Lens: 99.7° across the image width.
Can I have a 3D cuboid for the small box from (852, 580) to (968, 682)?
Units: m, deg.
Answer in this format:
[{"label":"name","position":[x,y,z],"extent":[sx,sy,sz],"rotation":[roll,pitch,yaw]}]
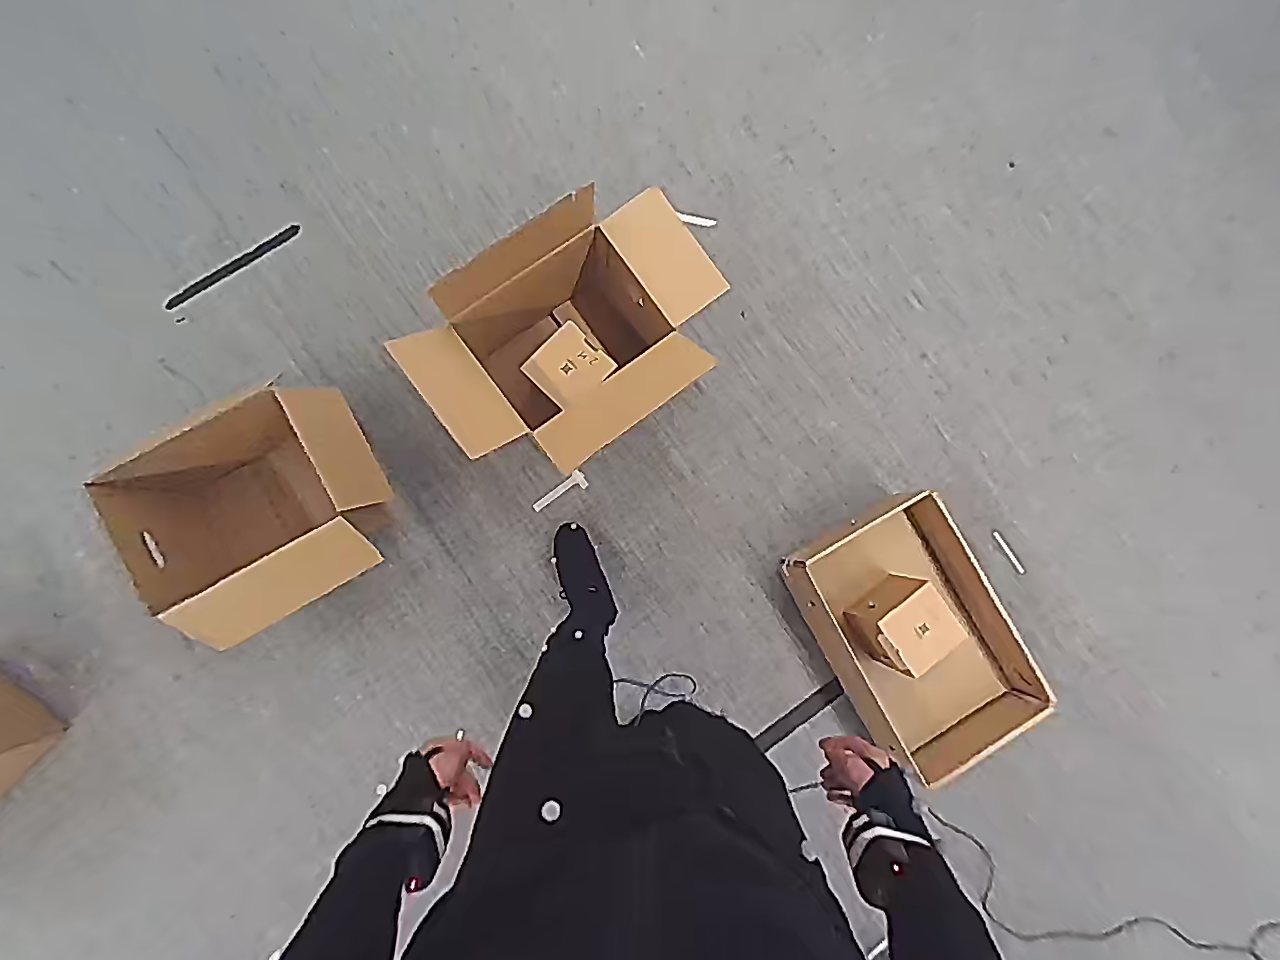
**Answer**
[{"label":"small box","position":[0.664,0.372,1.361],"extent":[0.179,0.176,0.168],"rotation":[-33,90,-7]}]
